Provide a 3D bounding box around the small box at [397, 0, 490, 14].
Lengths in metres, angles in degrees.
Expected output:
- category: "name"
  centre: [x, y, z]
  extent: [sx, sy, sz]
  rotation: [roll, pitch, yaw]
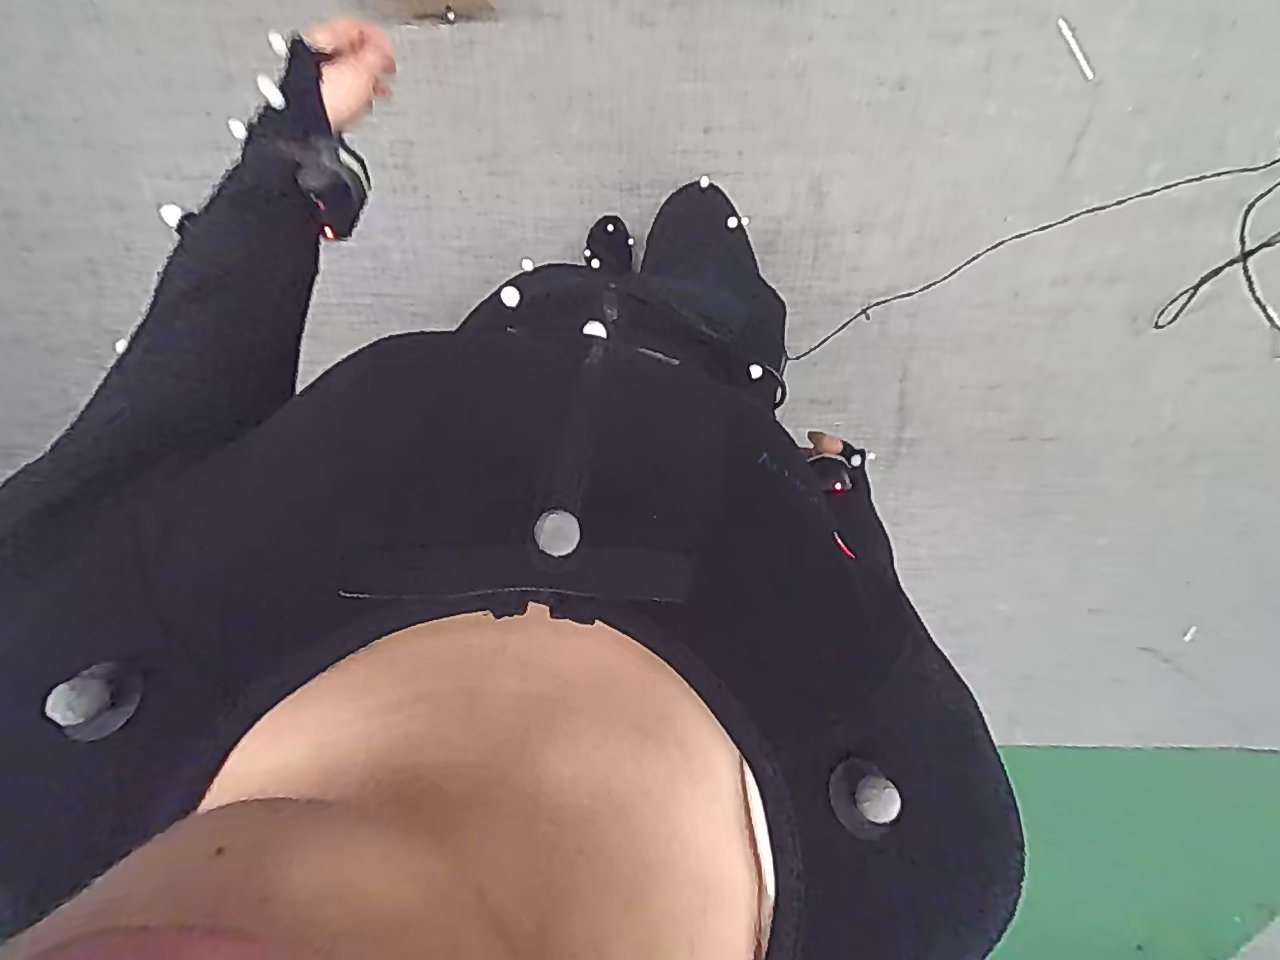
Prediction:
- category: "small box"
  centre: [-0.381, -0.987, 0.994]
  extent: [0.179, 0.176, 0.168]
  rotation: [-2, 118, 2]
